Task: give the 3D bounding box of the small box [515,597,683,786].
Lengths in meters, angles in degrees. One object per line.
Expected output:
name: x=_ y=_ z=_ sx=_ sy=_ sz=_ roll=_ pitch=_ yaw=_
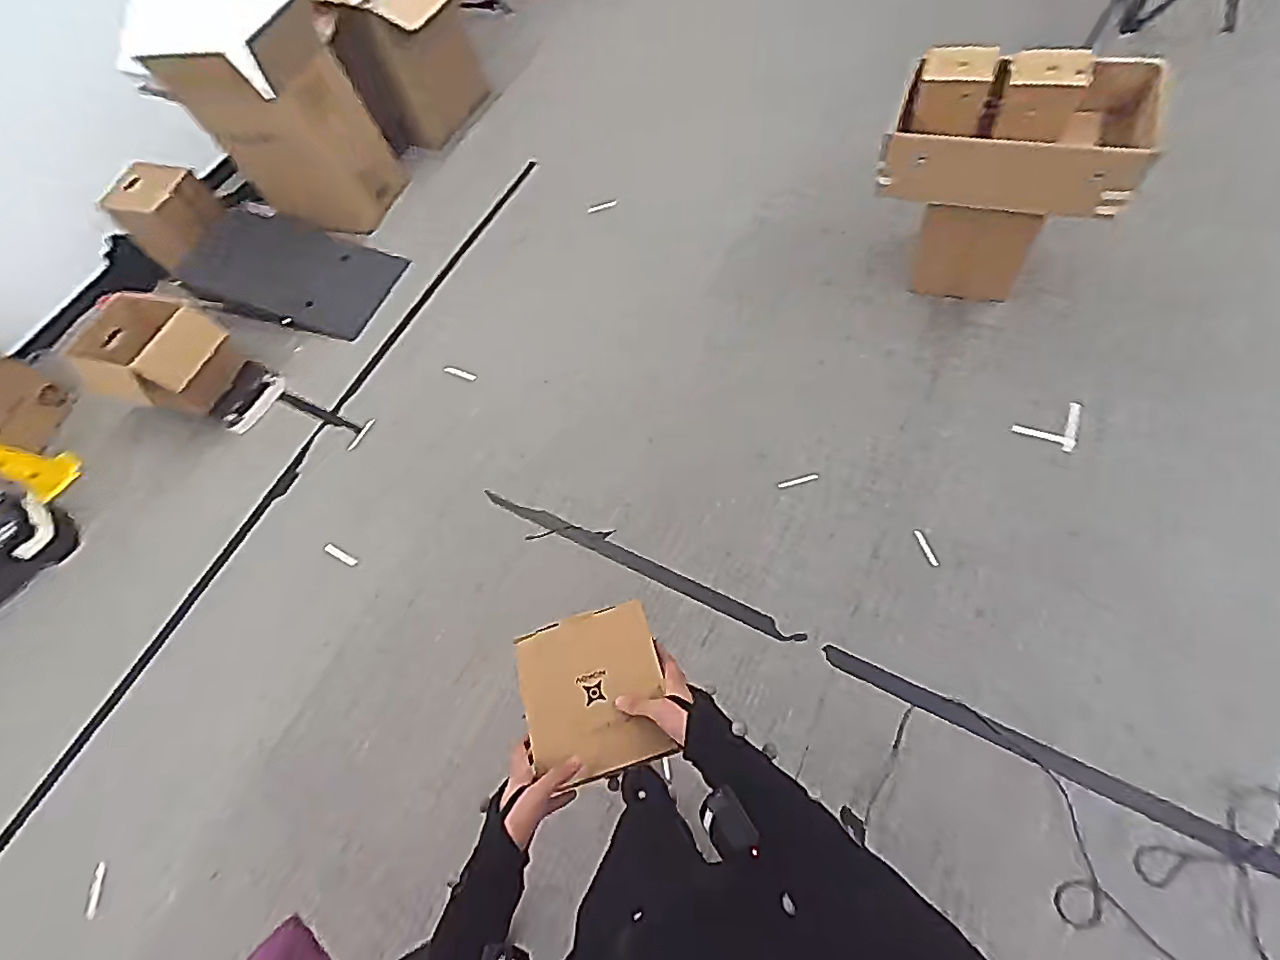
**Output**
small box: x=-0.048 y=0.276 z=0.694 sx=0.168 sy=0.176 sz=0.179 roll=-16 pitch=62 yaw=-4
